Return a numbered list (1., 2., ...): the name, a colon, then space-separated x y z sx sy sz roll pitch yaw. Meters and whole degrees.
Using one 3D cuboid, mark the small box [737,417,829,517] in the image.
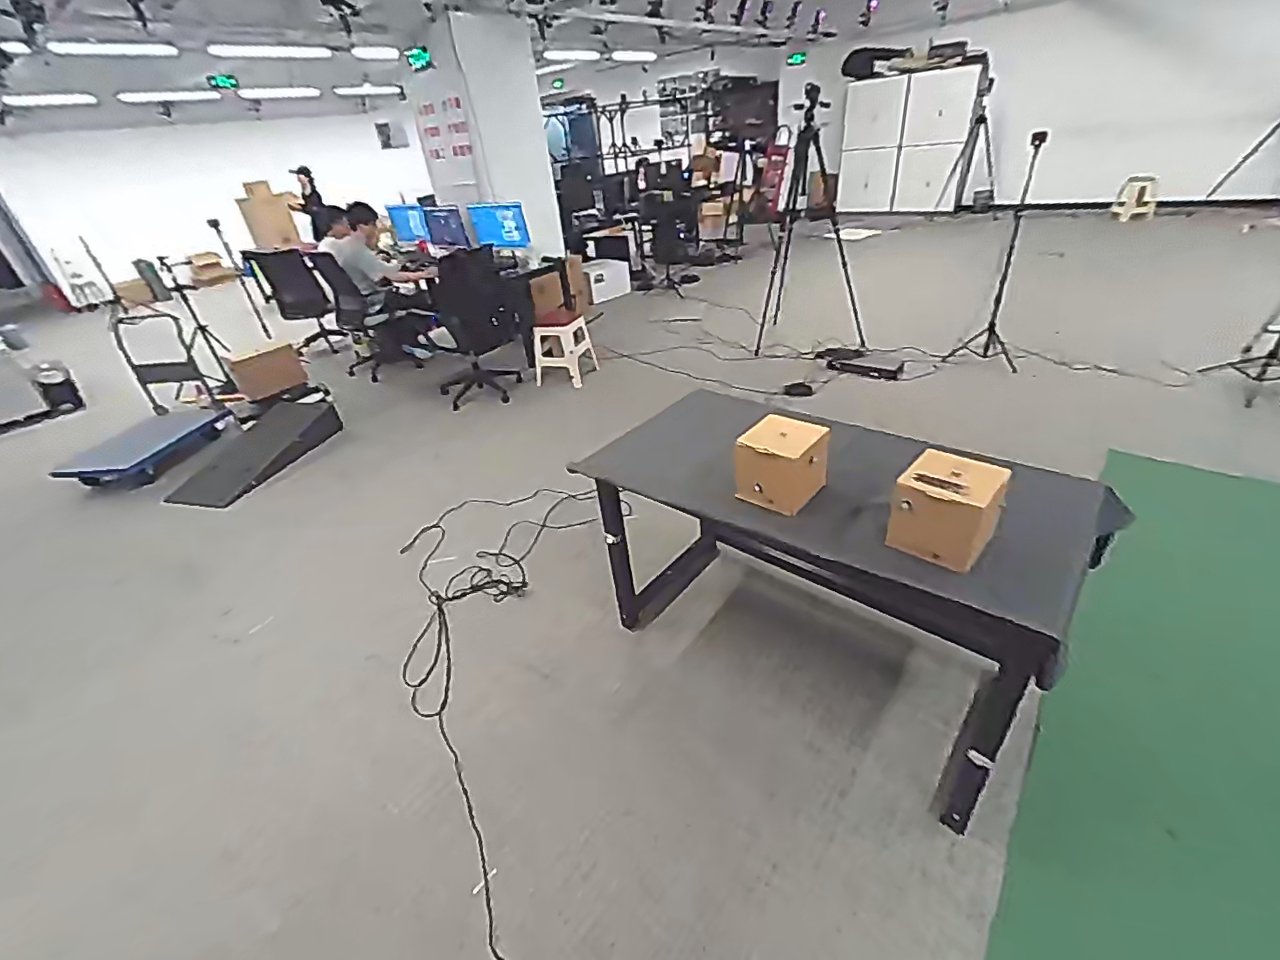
1. small box: 0.355 -0.035 1.372 0.168 0.176 0.179 22 42 36
